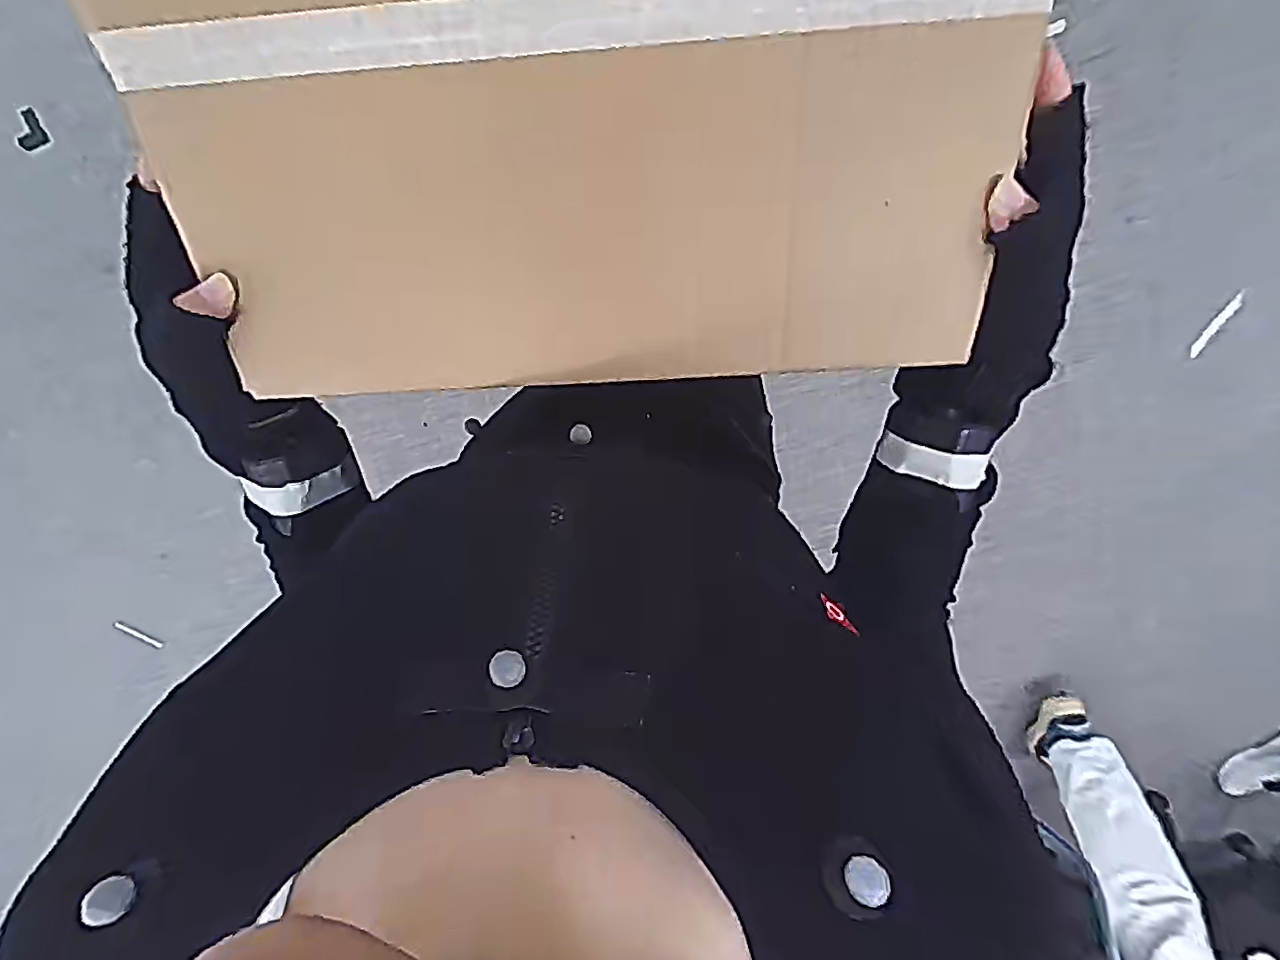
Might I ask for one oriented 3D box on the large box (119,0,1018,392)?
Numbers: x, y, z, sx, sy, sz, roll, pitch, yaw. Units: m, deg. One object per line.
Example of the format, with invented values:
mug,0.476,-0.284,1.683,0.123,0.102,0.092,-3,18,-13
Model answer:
large box,-0.032,-0.270,0.374,0.408,0.320,0.320,-3,119,3
